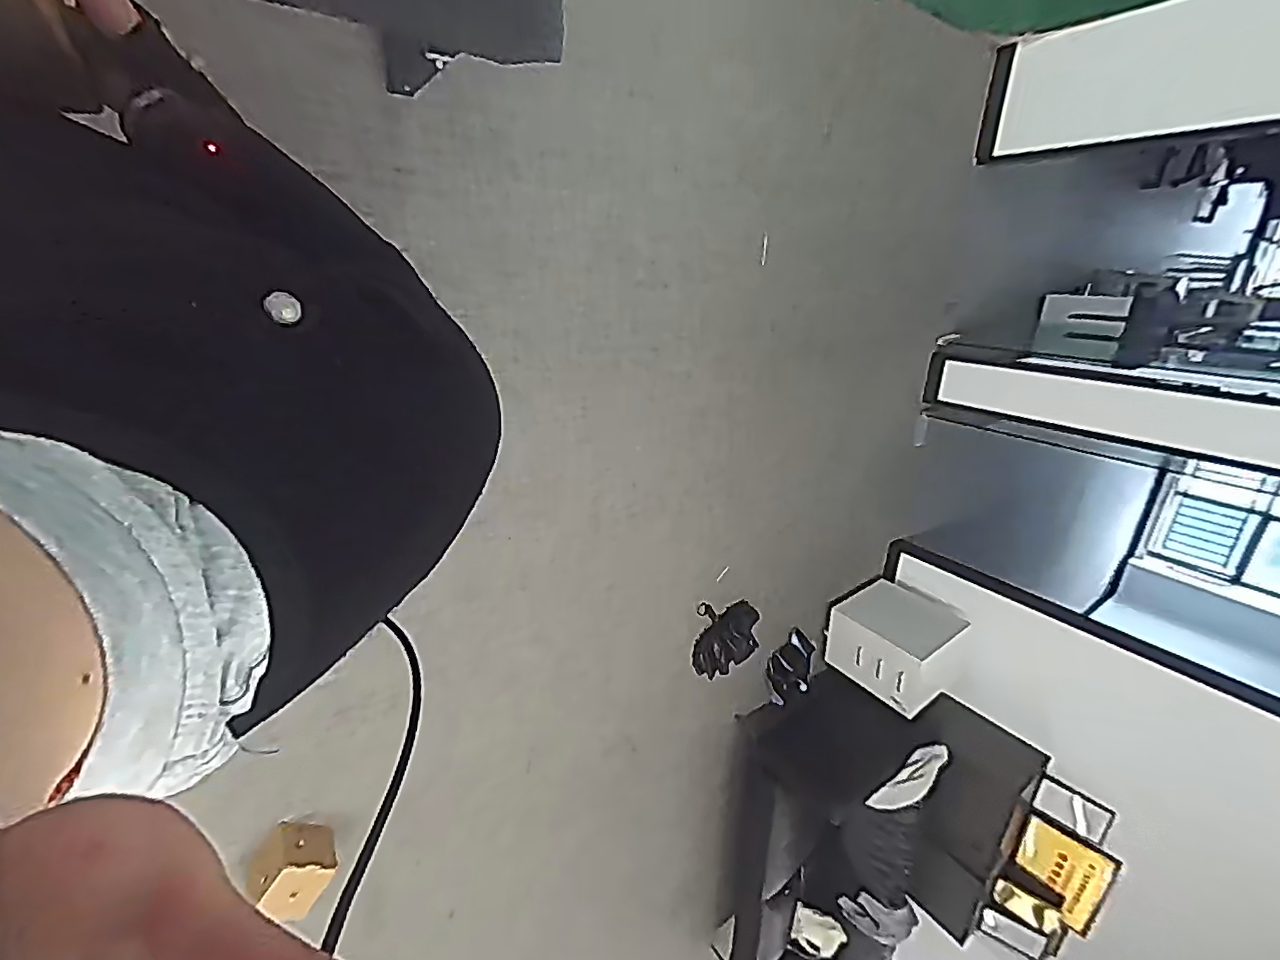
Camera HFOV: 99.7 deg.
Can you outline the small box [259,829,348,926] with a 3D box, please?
[{"bbox_3d":[-1.031,1.204,1.648,0.168,0.176,0.179,39,83,-40],"label":"small box"}]
